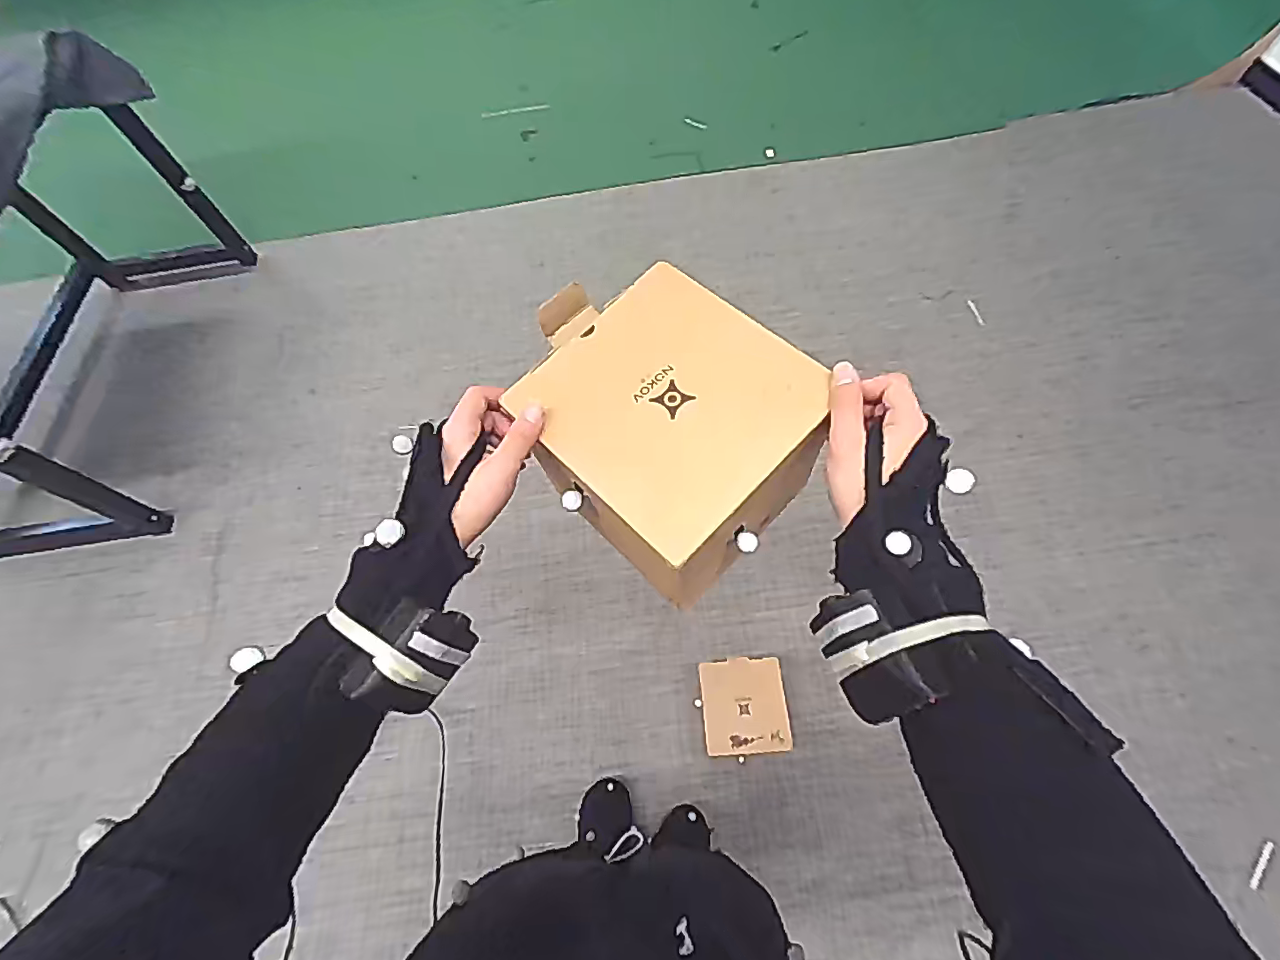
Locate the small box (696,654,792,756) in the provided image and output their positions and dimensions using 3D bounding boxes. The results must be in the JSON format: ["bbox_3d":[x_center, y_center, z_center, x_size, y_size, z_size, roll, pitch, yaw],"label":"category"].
[{"bbox_3d":[0.208,0.475,1.135,0.168,0.176,0.179,-5,61,2],"label":"small box"}]
